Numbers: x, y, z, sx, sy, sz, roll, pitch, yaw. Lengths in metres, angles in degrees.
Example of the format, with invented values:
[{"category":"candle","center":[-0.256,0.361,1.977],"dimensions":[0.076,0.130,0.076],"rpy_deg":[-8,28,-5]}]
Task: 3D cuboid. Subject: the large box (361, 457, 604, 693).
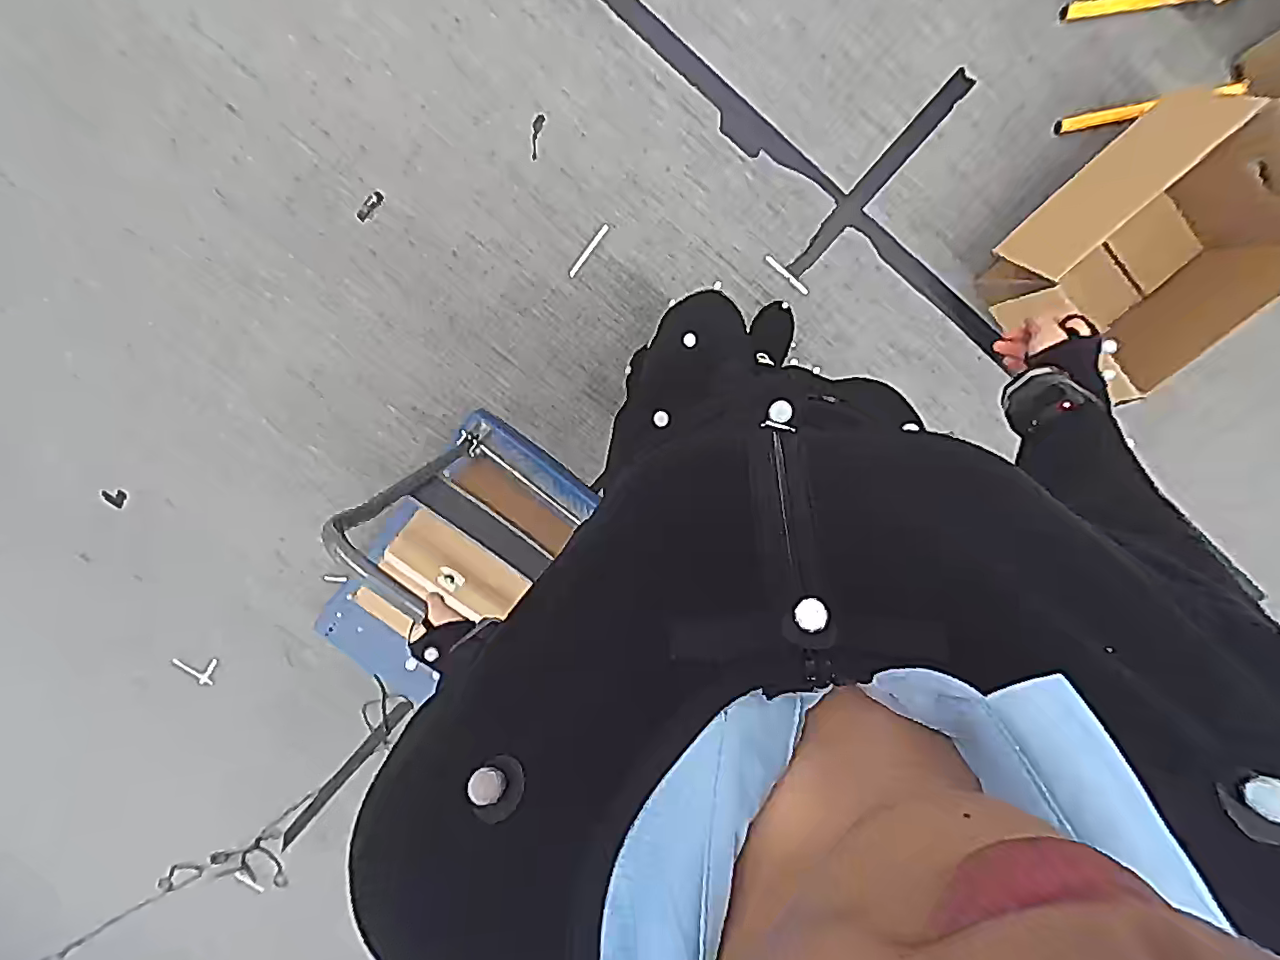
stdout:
[{"category":"large box","center":[-0.351,0.215,1.303],"dimensions":[0.408,0.320,0.320],"rpy_deg":[40,107,-8]}]
